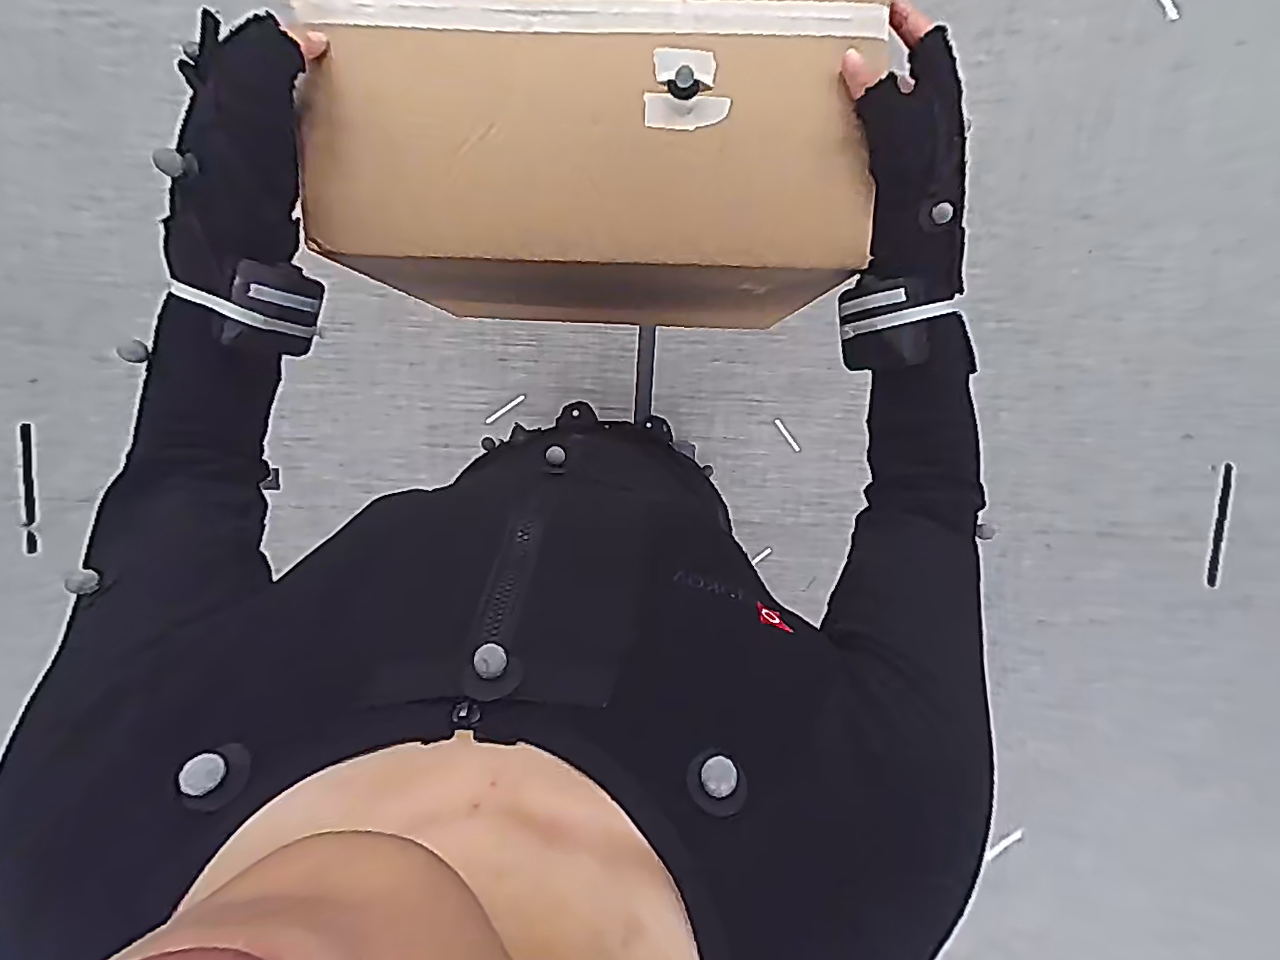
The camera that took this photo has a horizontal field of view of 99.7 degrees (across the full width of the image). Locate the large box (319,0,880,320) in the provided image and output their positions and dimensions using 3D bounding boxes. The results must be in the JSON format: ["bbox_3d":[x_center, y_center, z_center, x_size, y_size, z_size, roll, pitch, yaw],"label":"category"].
[{"bbox_3d":[-0.031,-0.340,0.530,0.408,0.320,0.320,2,98,0],"label":"large box"}]

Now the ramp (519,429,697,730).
[{"bbox_3d":[-0.101,0.342,1.623,0.509,0.206,0.991,0,98,-2],"label":"ramp"}]
